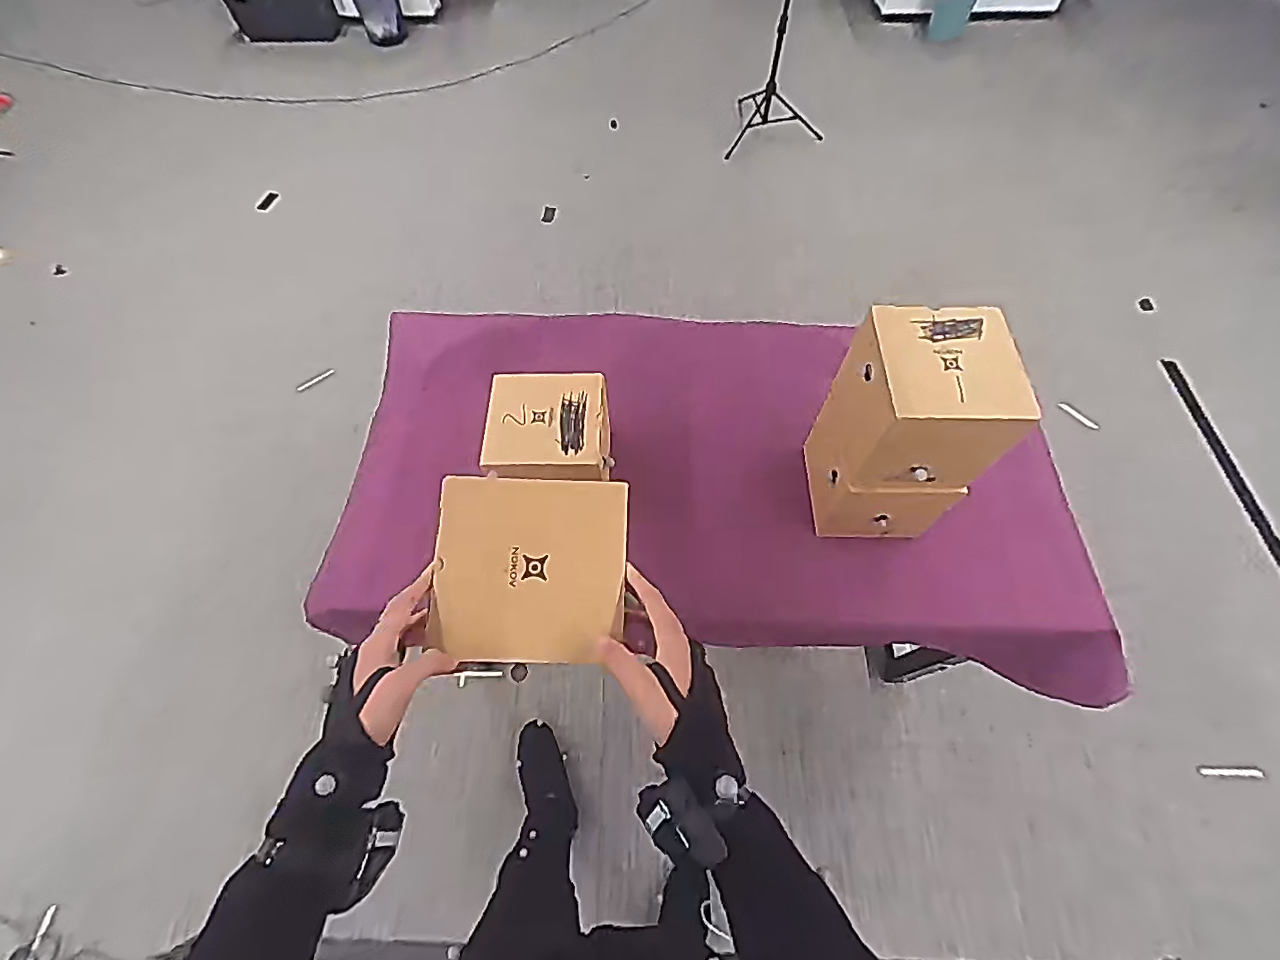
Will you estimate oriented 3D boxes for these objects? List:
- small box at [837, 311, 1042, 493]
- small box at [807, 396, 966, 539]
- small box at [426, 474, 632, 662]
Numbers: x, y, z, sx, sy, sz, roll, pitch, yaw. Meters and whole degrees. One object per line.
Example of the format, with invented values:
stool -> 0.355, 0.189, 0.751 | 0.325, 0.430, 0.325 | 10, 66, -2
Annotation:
small box -> 0.375, -0.099, 0.719 | 0.168, 0.176, 0.179 | 1, 62, 2
small box -> 0.375, -0.014, 0.859 | 0.168, 0.176, 0.179 | 1, 62, 1
small box -> -0.100, 0.097, 0.568 | 0.179, 0.176, 0.168 | 2, 74, -1
